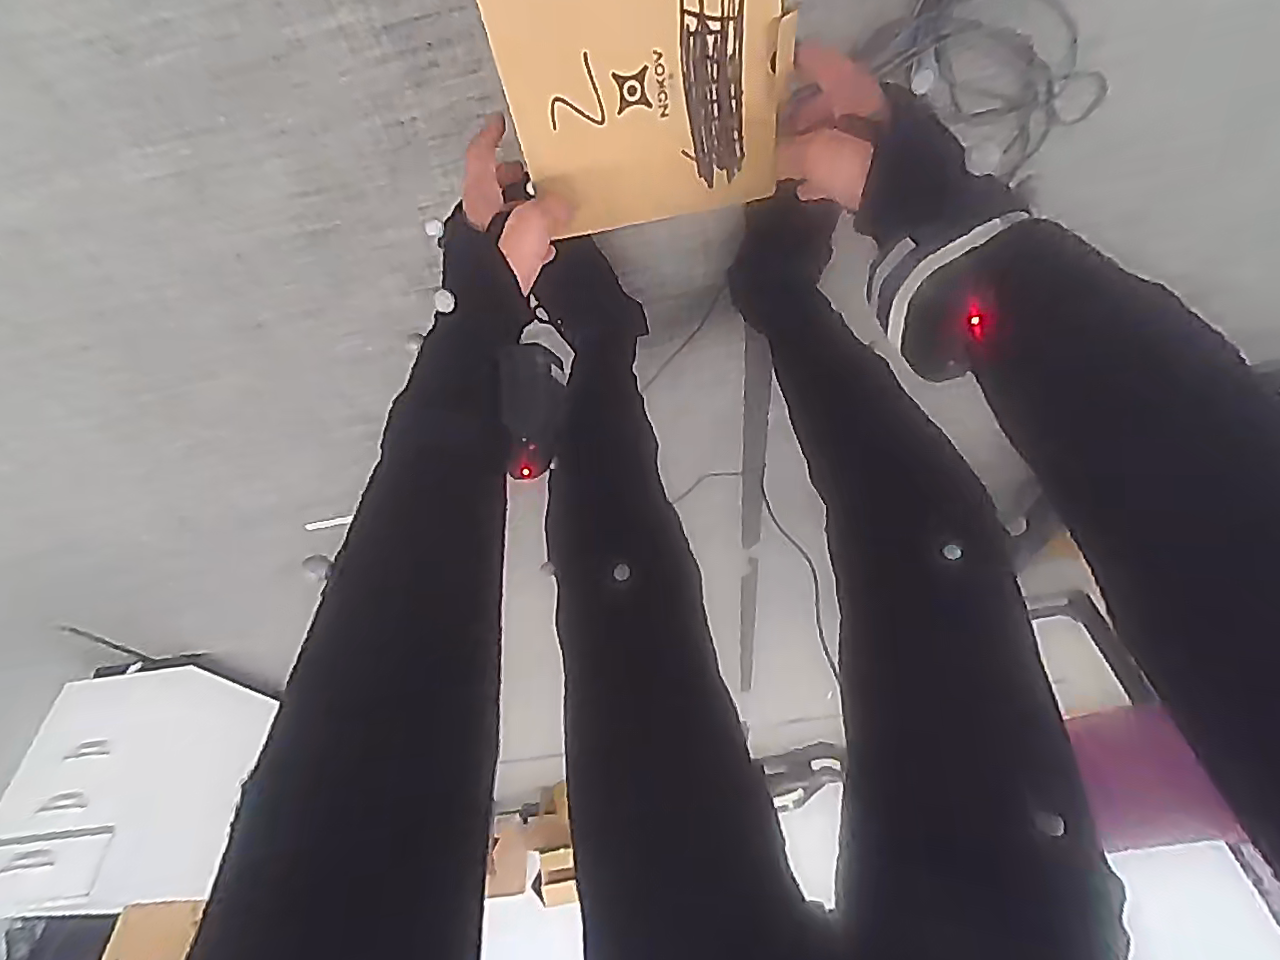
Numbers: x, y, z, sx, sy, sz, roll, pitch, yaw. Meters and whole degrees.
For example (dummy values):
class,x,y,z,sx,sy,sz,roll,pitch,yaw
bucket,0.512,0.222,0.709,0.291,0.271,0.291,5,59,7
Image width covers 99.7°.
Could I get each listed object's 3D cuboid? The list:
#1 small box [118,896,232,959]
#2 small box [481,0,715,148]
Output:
class,x,y,z,sx,sy,sz,roll,pitch,yaw
small box,-1.330,1.307,1.548,0.179,0.176,0.168,-10,143,5
small box,-0.038,-0.429,0.474,0.179,0.176,0.168,-11,142,5
